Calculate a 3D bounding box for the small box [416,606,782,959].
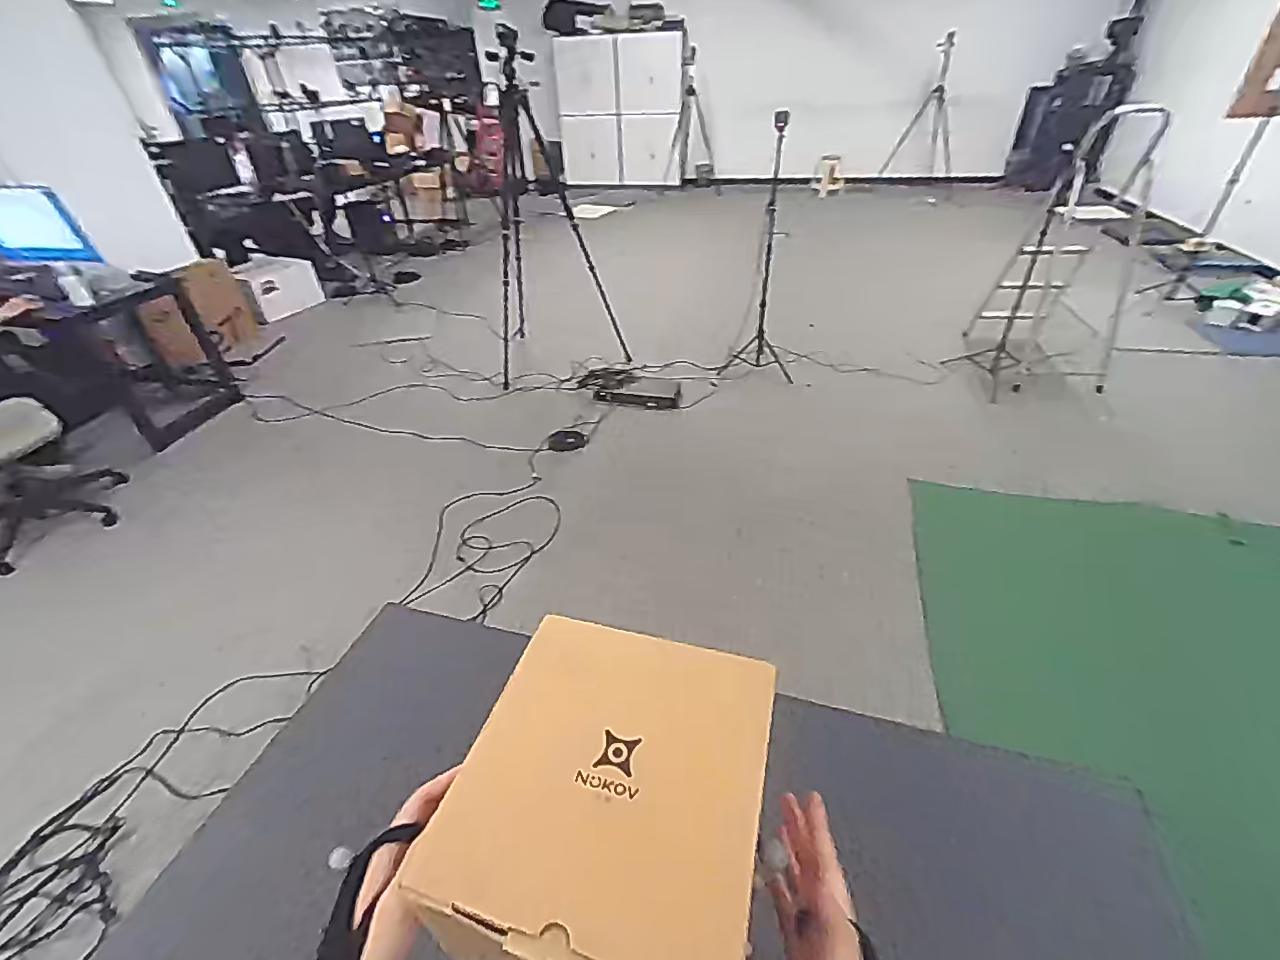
[{"bbox_3d":[-0.008,0.216,0.352,0.168,0.176,0.179,8,38,14],"label":"small box"}]
